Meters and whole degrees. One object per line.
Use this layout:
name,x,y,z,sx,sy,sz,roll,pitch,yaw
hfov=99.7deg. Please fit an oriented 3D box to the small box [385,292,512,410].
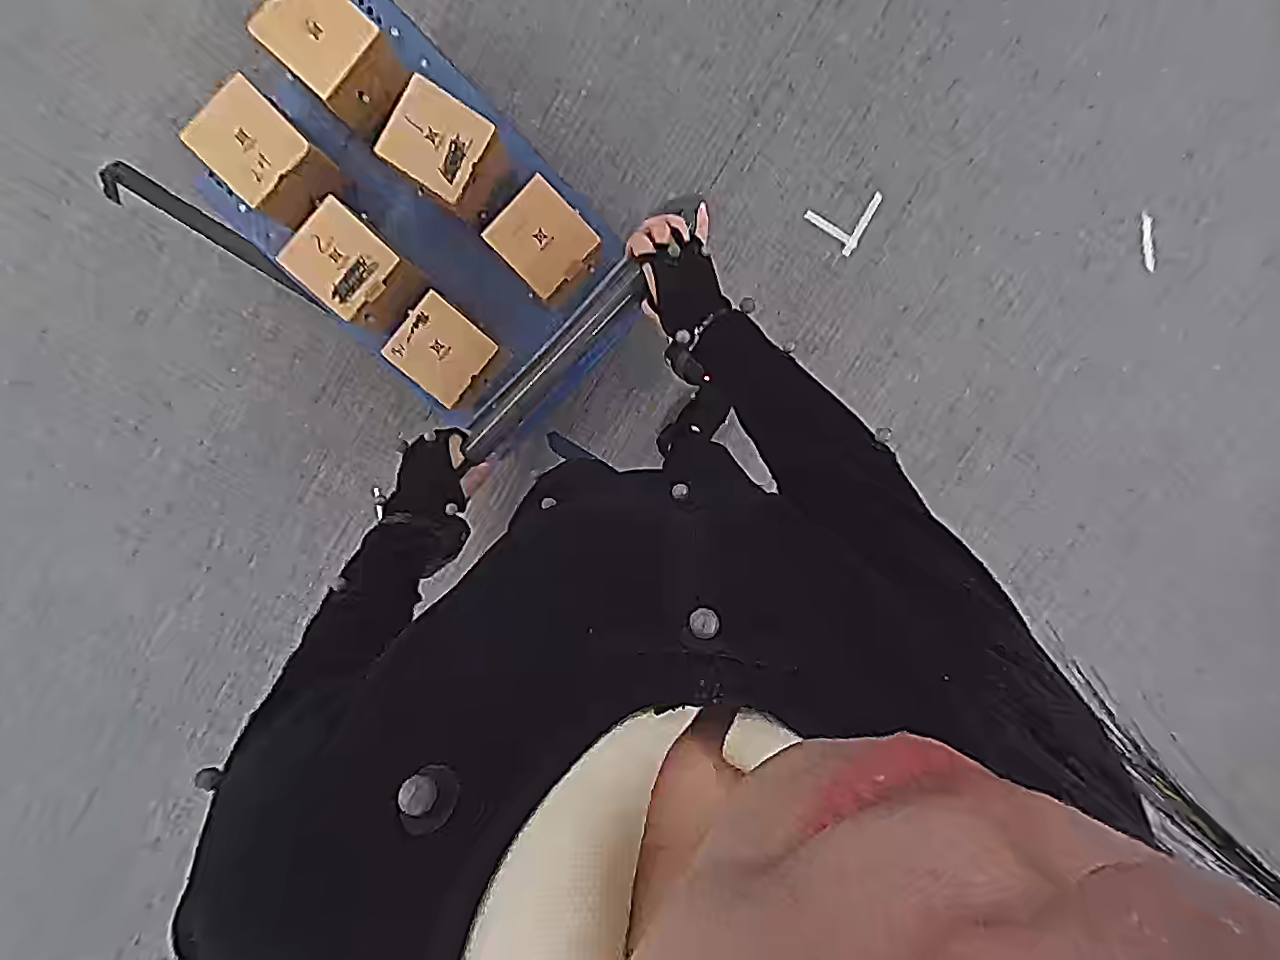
small box,-0.396,-0.269,1.155,0.179,0.176,0.168,40,93,-9

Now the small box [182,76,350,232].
small box,-0.730,-0.632,1.076,0.168,0.176,0.179,-44,100,4

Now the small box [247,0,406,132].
small box,-0.596,-0.824,1.057,0.179,0.176,0.168,40,95,-9

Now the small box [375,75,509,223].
small box,-0.389,-0.652,1.097,0.179,0.176,0.168,31,96,-7

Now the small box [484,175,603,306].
small box,-0.193,-0.487,1.137,0.179,0.176,0.168,44,93,-8
